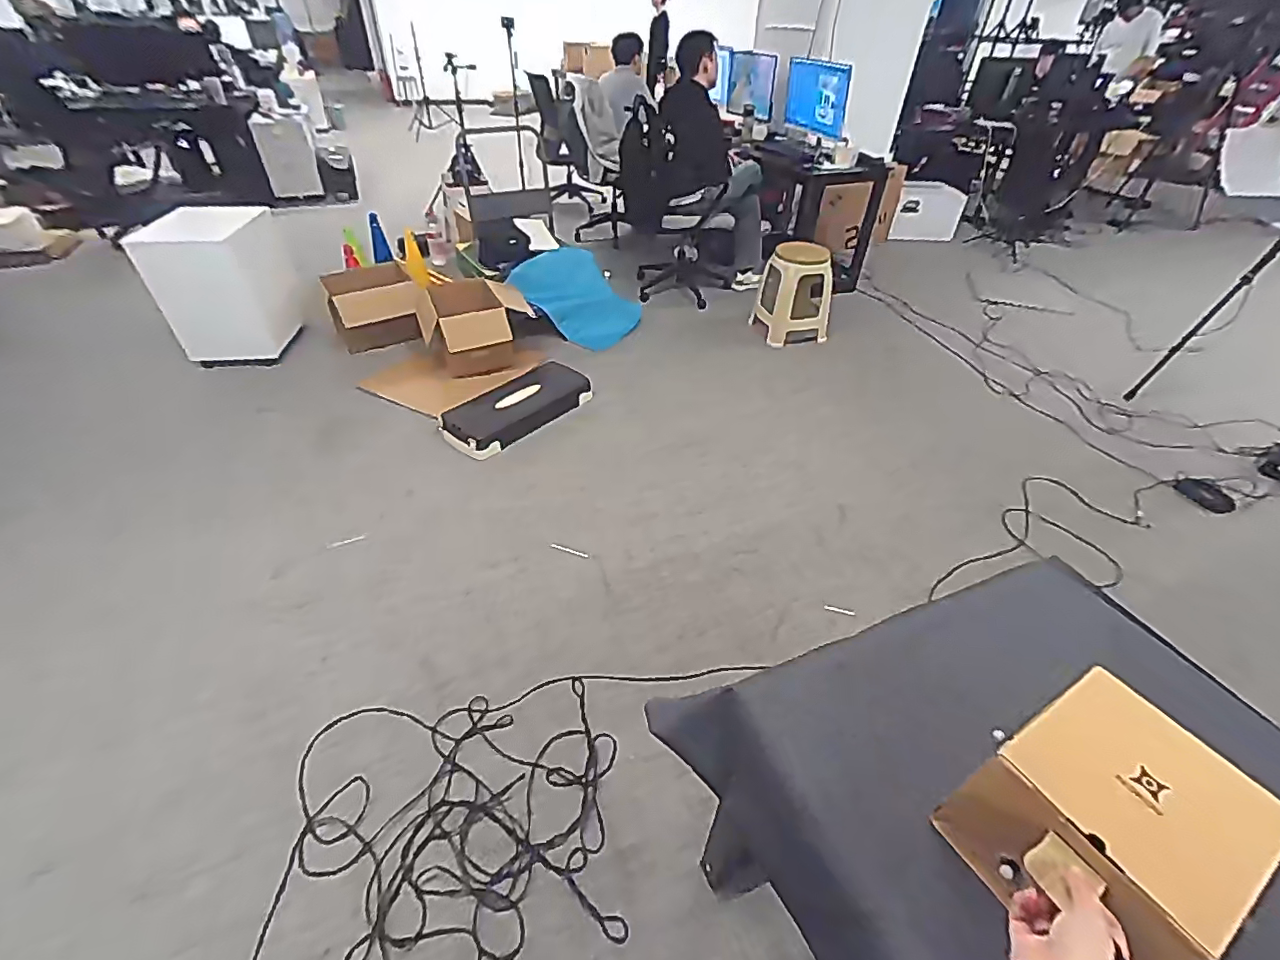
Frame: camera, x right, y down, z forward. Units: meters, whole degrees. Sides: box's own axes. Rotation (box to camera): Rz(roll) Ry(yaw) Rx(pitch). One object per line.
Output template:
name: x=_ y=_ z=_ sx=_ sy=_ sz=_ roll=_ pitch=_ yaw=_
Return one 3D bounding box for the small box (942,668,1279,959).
small box: x=0.431 y=0.321 z=0.513 sx=0.179 sy=0.176 sz=0.168 roll=-21 pitch=46 yaw=-24
